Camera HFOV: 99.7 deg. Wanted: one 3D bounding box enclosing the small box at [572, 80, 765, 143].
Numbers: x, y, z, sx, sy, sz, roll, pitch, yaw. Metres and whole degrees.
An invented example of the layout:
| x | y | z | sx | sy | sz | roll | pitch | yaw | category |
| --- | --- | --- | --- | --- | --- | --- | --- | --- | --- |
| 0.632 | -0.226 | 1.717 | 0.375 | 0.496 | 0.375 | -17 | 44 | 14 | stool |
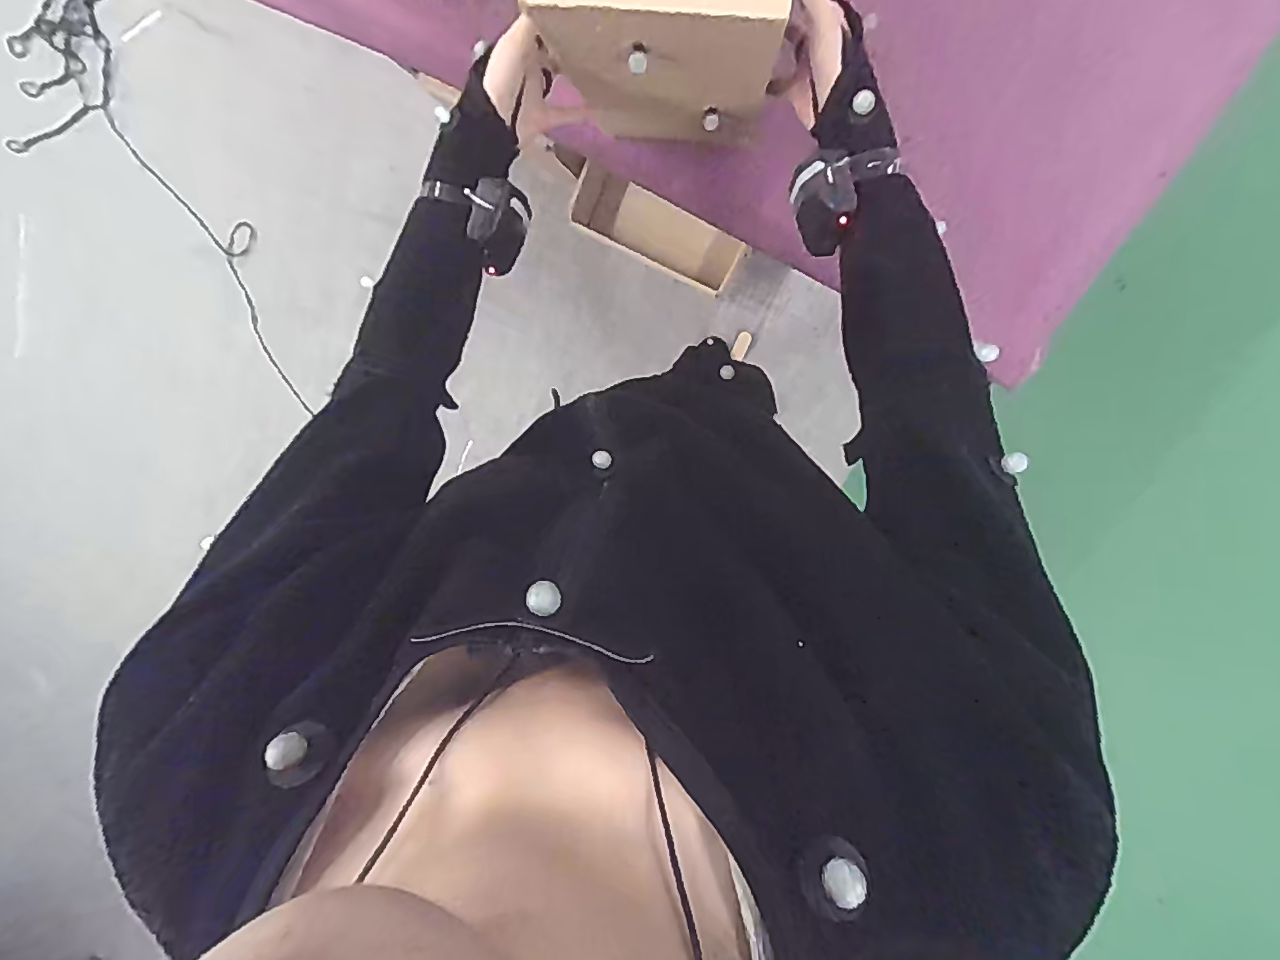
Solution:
| x | y | z | sx | sy | sz | roll | pitch | yaw | category |
| --- | --- | --- | --- | --- | --- | --- | --- | --- | --- |
| 0.037 | -0.451 | 0.538 | 0.179 | 0.176 | 0.168 | 6 | 111 | 4 | small box |

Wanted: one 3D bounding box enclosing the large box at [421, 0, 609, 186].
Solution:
| x | y | z | sx | sy | sz | roll | pitch | yaw | category |
| --- | --- | --- | --- | --- | --- | --- | --- | --- | --- |
| -0.204 | -0.928 | 1.159 | 0.320 | 0.320 | 0.408 | 26 | 109 | 1 | large box |

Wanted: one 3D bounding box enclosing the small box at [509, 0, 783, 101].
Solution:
| x | y | z | sx | sy | sz | roll | pitch | yaw | category |
| --- | --- | --- | --- | --- | --- | --- | --- | --- | --- |
| 0.019 | -0.392 | 0.385 | 0.179 | 0.176 | 0.168 | 7 | 112 | 5 | small box |
